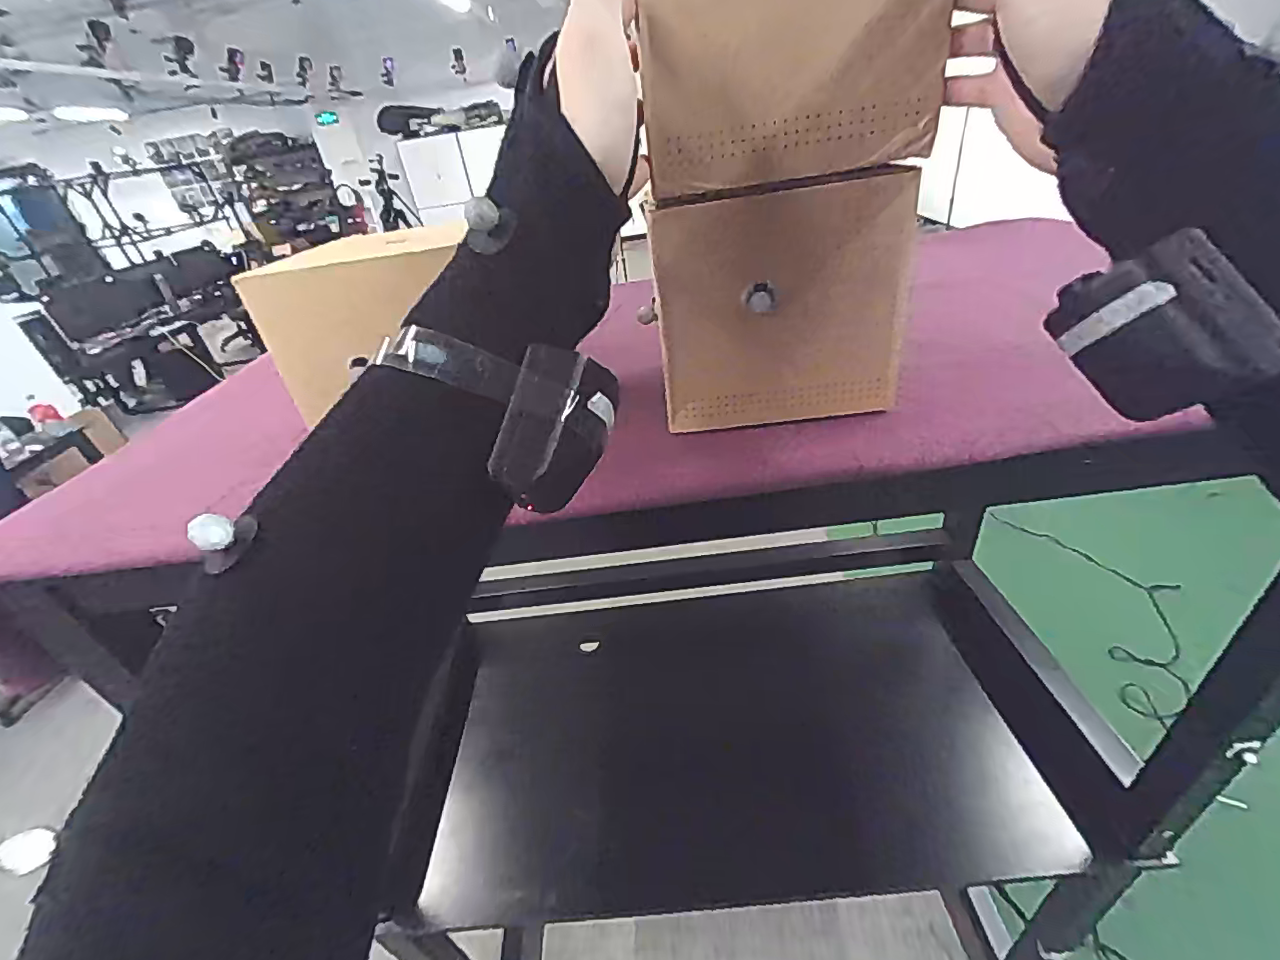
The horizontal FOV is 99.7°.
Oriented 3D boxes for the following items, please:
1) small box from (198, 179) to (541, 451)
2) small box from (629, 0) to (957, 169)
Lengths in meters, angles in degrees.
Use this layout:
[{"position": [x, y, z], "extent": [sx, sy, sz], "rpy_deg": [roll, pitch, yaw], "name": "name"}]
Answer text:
[{"position": [-0.185, -0.133, 0.442], "extent": [0.168, 0.176, 0.179], "rpy_deg": [-6, 33, 2], "name": "small box"}, {"position": [0.082, -0.301, 0.337], "extent": [0.179, 0.176, 0.168], "rpy_deg": [-4, 32, 5], "name": "small box"}]
